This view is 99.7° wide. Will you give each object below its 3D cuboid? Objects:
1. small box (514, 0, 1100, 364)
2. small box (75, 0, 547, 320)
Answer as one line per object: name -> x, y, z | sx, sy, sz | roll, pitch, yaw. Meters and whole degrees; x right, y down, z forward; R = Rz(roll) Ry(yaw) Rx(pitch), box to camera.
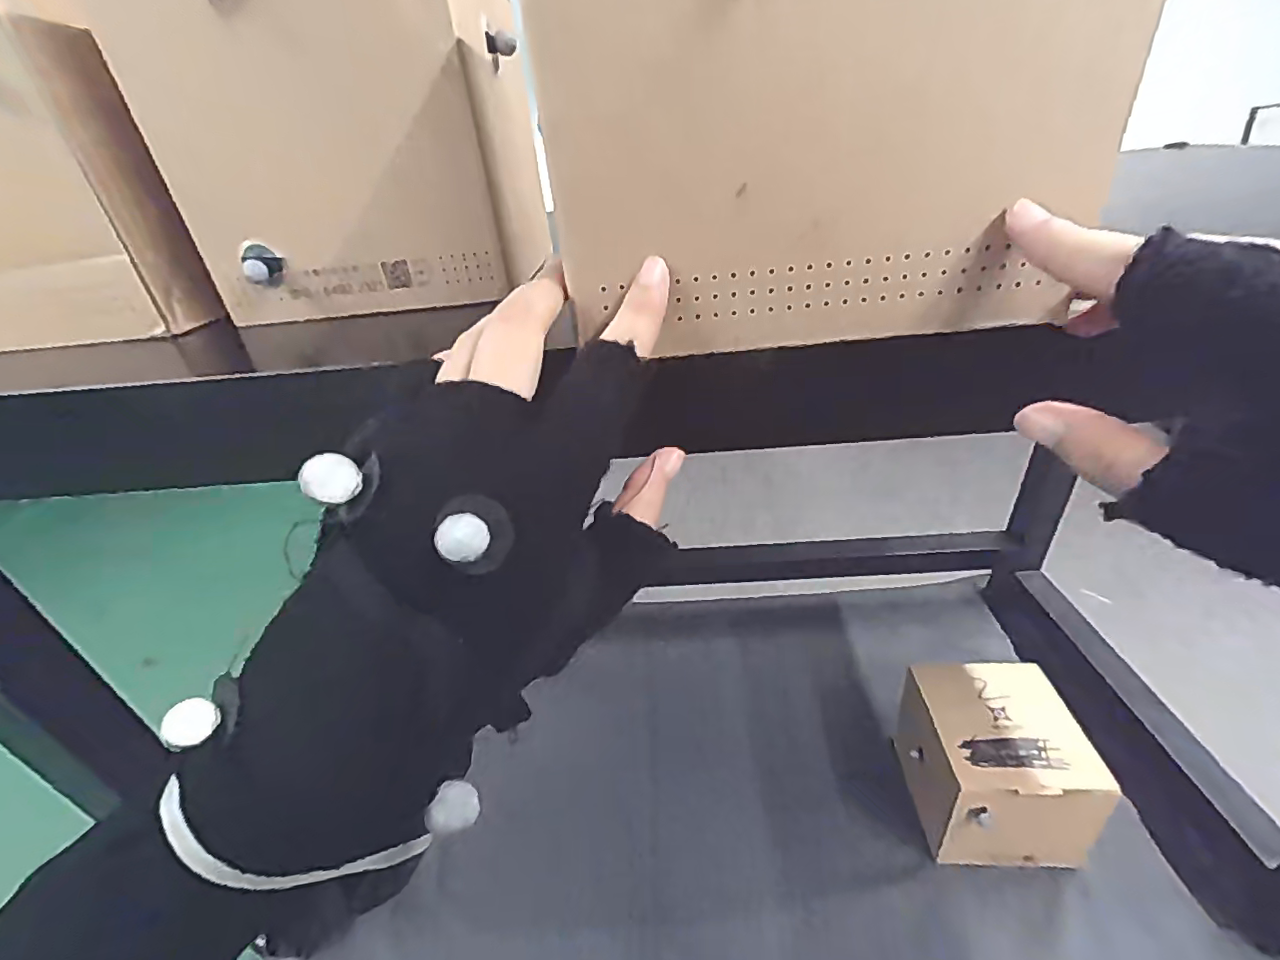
small box -> 0.052, -0.155, 0.226 | 0.179, 0.176, 0.168 | -4, 32, 4
small box -> -0.162, -0.204, 0.343 | 0.168, 0.176, 0.179 | -4, 31, 3
